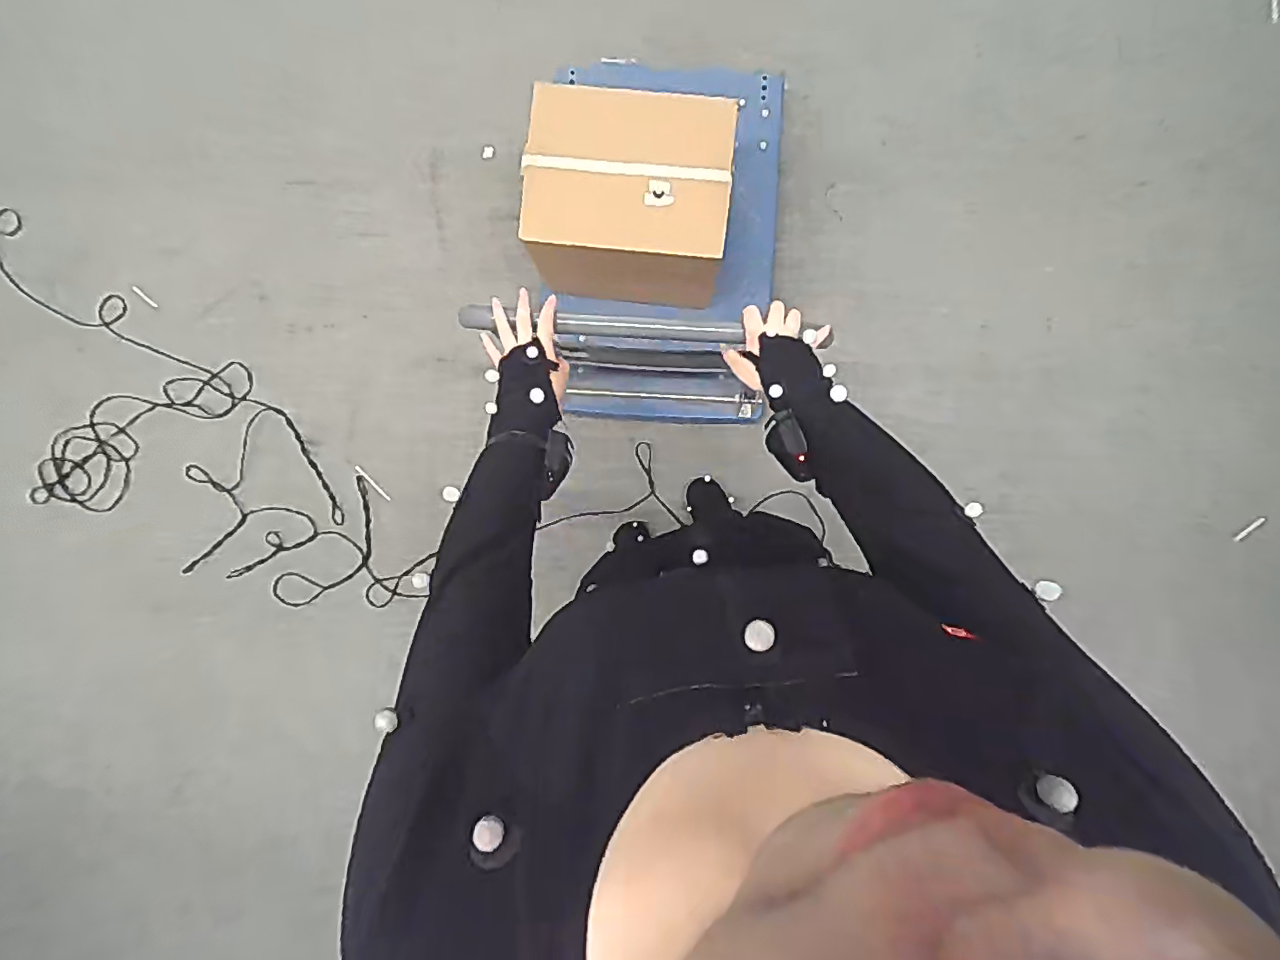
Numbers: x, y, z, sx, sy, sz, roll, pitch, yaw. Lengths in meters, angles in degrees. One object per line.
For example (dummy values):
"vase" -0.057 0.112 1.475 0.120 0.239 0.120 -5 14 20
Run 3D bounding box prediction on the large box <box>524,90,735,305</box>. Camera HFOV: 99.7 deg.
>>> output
"large box" -0.020 -0.608 1.219 0.408 0.320 0.320 6 90 1
